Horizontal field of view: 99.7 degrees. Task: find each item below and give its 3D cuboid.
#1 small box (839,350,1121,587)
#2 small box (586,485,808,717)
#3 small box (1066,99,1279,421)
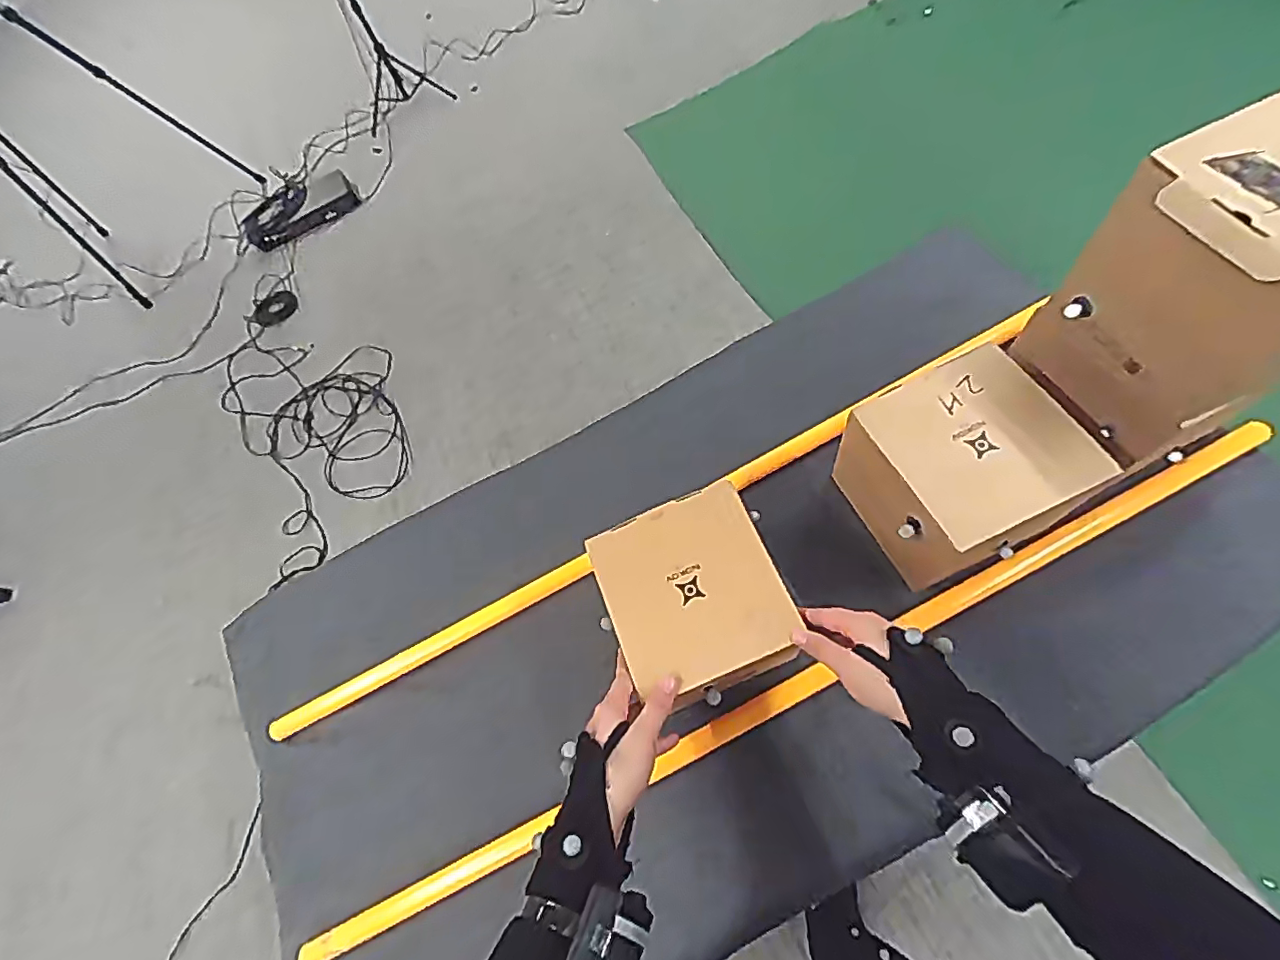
[{"bbox_3d":[0.338,0.002,0.585,0.168,0.176,0.179,-26,63,2],"label":"small box"},{"bbox_3d":[0.063,0.139,0.586,0.168,0.176,0.179,-24,62,0],"label":"small box"},{"bbox_3d":[0.505,-0.177,0.445,0.179,0.176,0.168,-24,63,1],"label":"small box"}]
